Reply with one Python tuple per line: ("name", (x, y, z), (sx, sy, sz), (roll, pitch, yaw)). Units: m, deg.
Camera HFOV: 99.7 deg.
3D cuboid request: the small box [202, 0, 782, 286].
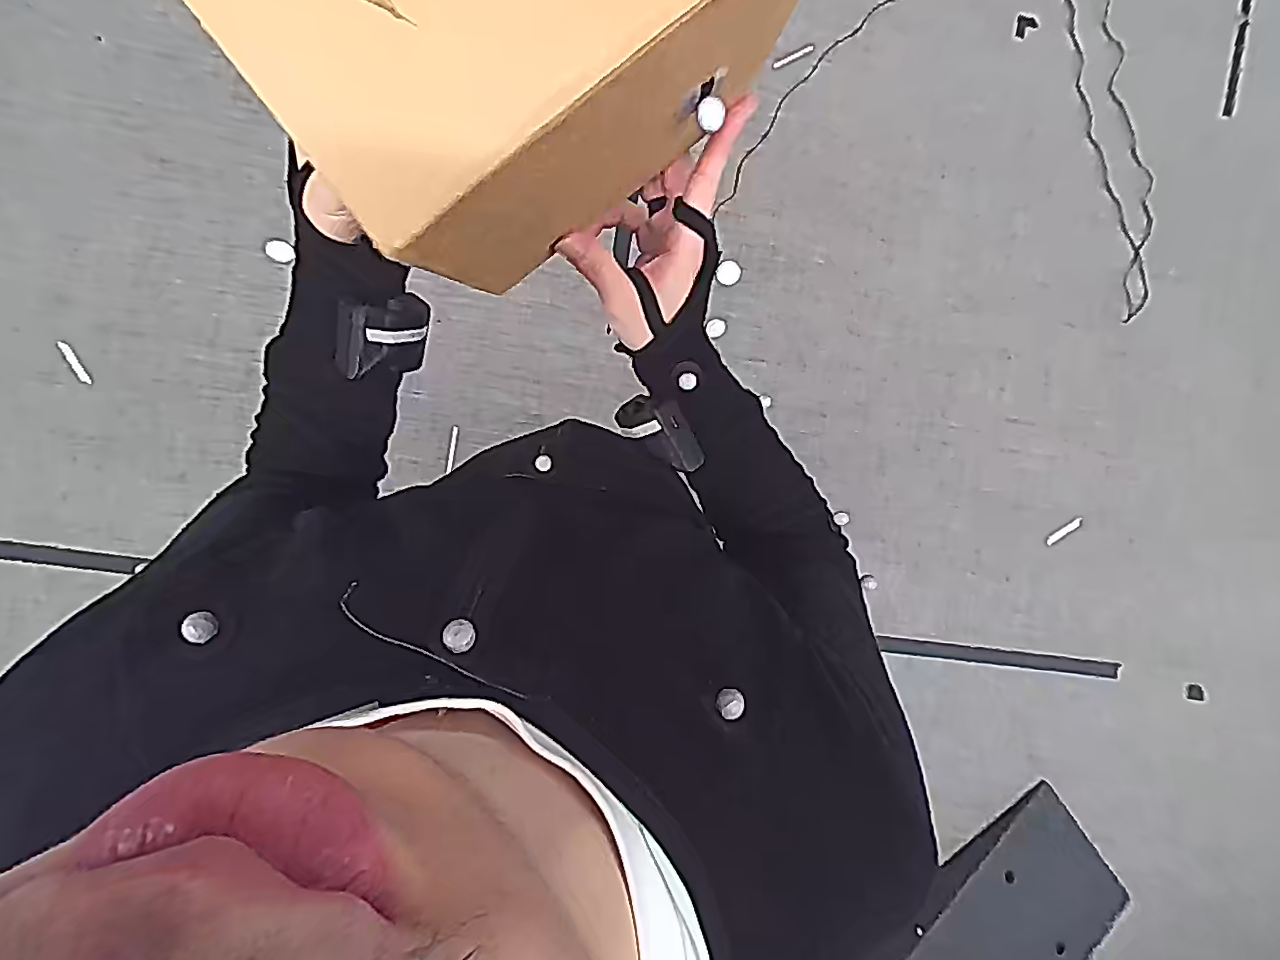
("small box", (-0.059, -0.207, 0.230), (0.179, 0.176, 0.168), (-37, 103, 8))
